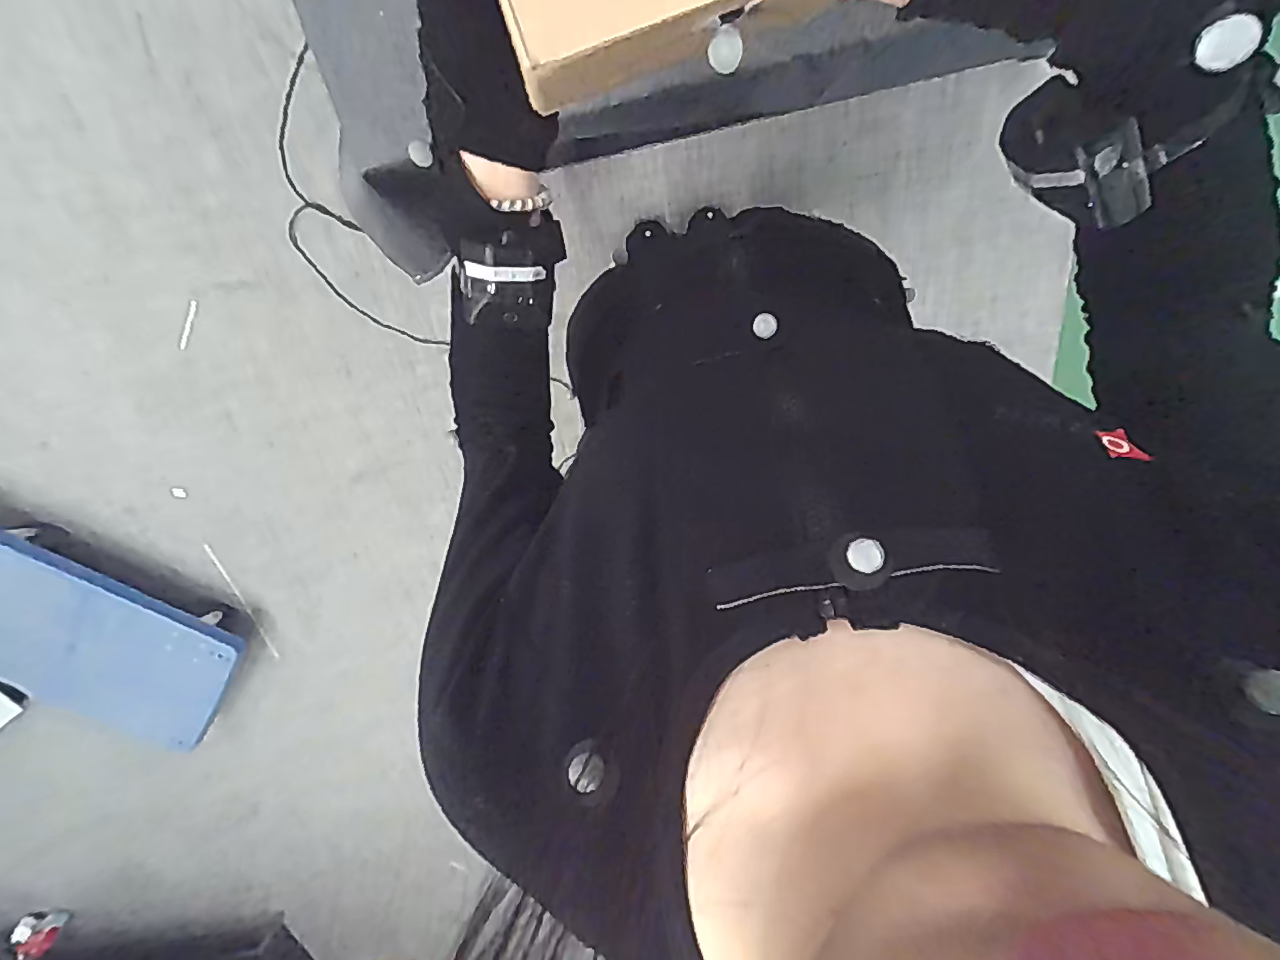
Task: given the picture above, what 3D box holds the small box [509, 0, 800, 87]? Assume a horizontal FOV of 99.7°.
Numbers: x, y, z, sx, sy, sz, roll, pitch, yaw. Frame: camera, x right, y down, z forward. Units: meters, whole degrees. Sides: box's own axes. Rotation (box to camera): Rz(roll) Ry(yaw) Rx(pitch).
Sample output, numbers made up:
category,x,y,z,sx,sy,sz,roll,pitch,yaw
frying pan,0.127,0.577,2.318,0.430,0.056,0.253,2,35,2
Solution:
category,x,y,z,sx,sy,sz,roll,pitch,yaw
small box,0.012,-0.276,0.204,0.179,0.176,0.168,-18,122,4
